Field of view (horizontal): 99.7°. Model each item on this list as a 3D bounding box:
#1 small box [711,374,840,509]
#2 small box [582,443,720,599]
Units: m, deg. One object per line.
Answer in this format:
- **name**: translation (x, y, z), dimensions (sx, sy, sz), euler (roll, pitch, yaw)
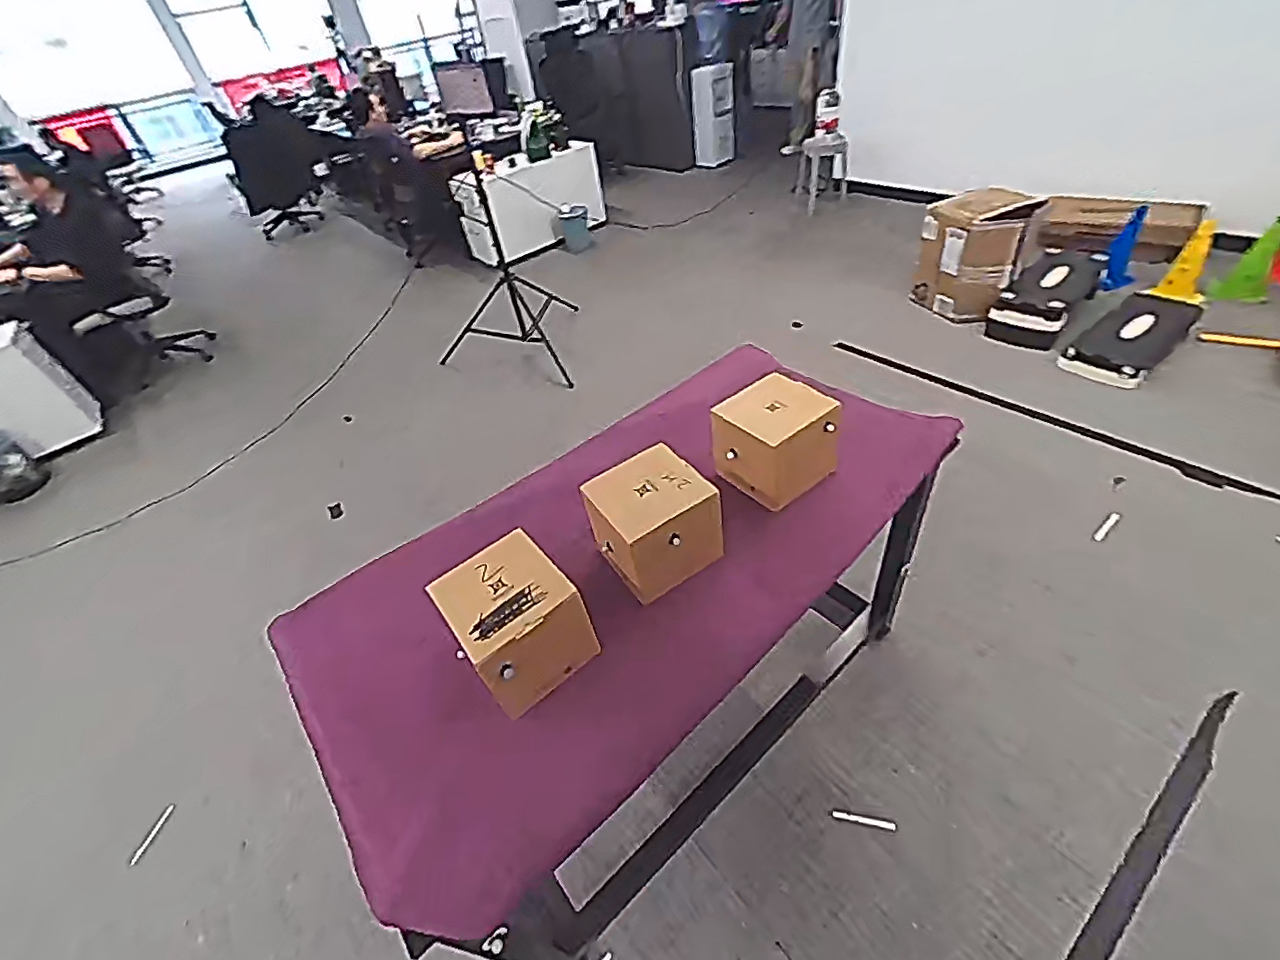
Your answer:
- **small box**: translation (0.262, -0.074, 1.048), dimensions (0.179, 0.176, 0.168), euler (-31, 45, -21)
- **small box**: translation (0.025, 0.073, 0.939), dimensions (0.179, 0.176, 0.168), euler (-28, 46, -18)
